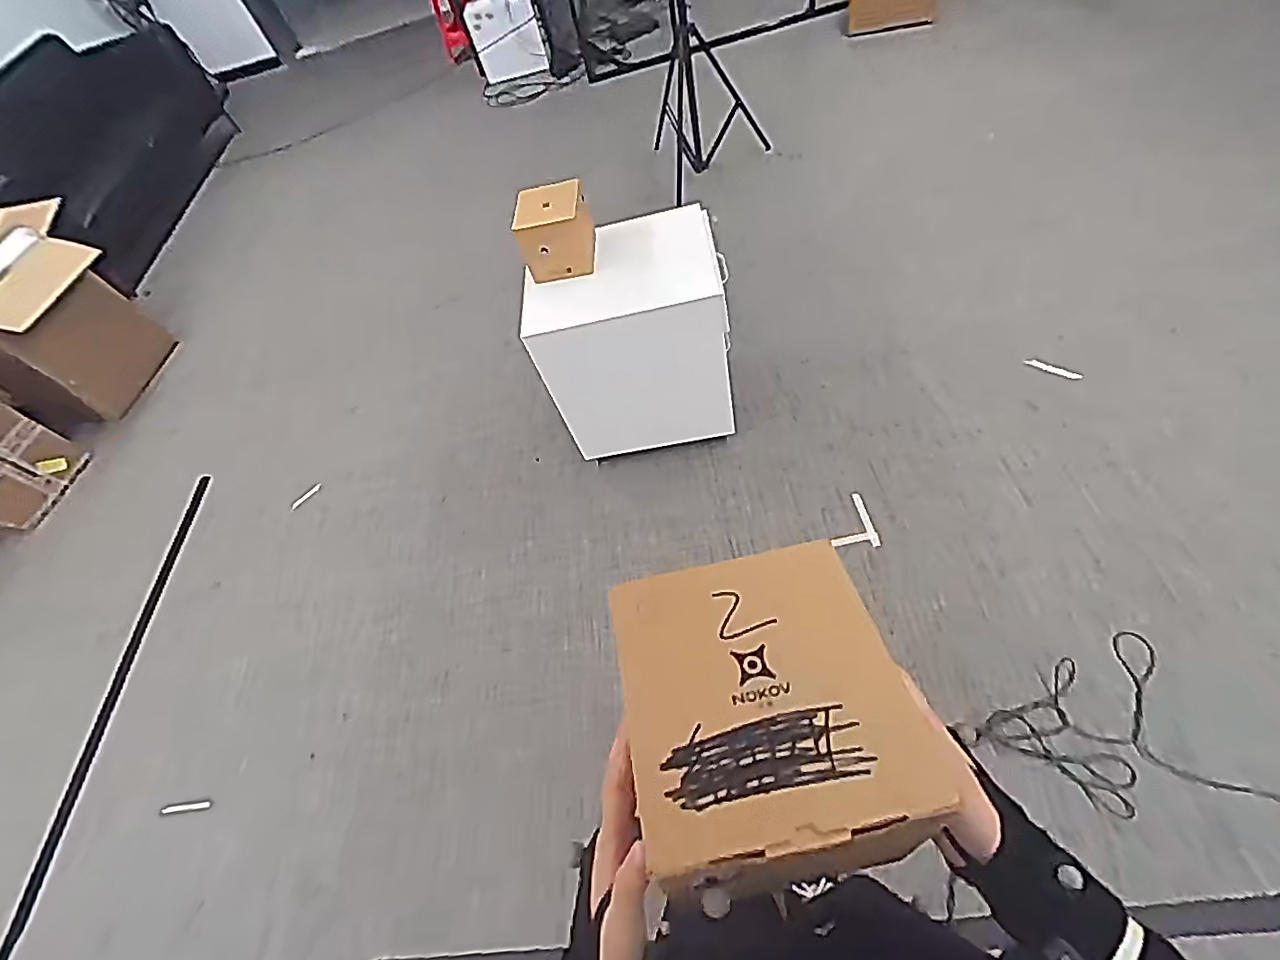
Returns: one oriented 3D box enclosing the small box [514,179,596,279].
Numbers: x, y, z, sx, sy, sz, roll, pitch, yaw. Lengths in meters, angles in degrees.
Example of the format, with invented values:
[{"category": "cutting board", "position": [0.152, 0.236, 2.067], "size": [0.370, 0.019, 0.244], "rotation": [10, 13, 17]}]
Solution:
[{"category": "small box", "position": [-0.216, -0.651, 1.426], "size": [0.168, 0.176, 0.179], "rotation": [-7, 57, 10]}]
